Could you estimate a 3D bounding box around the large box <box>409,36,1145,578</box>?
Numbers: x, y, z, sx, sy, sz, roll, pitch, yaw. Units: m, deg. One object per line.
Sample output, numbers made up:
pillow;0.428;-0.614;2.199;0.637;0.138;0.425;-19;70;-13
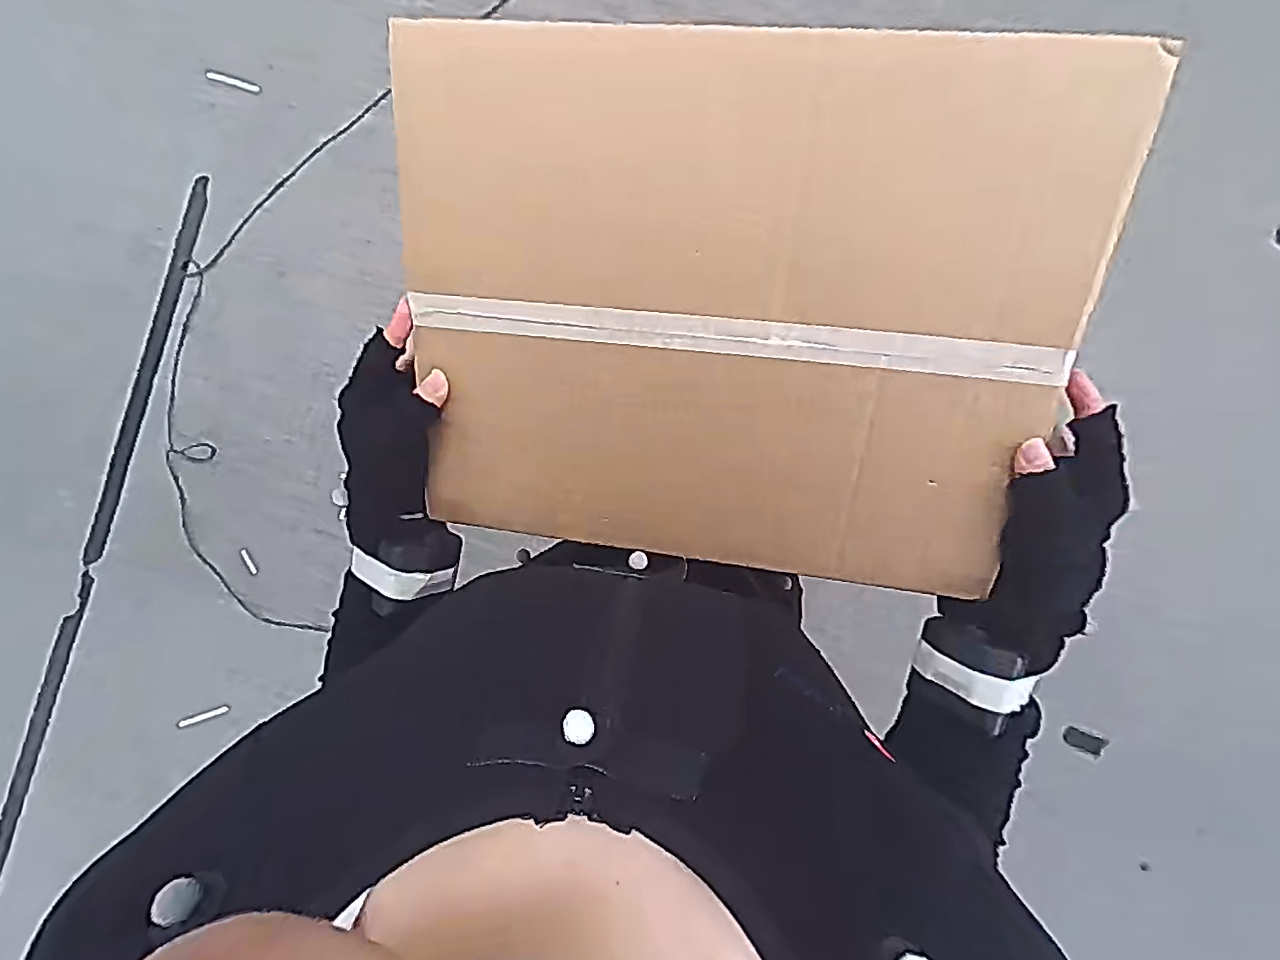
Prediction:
large box;0.071;-0.145;0.483;0.408;0.320;0.320;7;112;7
